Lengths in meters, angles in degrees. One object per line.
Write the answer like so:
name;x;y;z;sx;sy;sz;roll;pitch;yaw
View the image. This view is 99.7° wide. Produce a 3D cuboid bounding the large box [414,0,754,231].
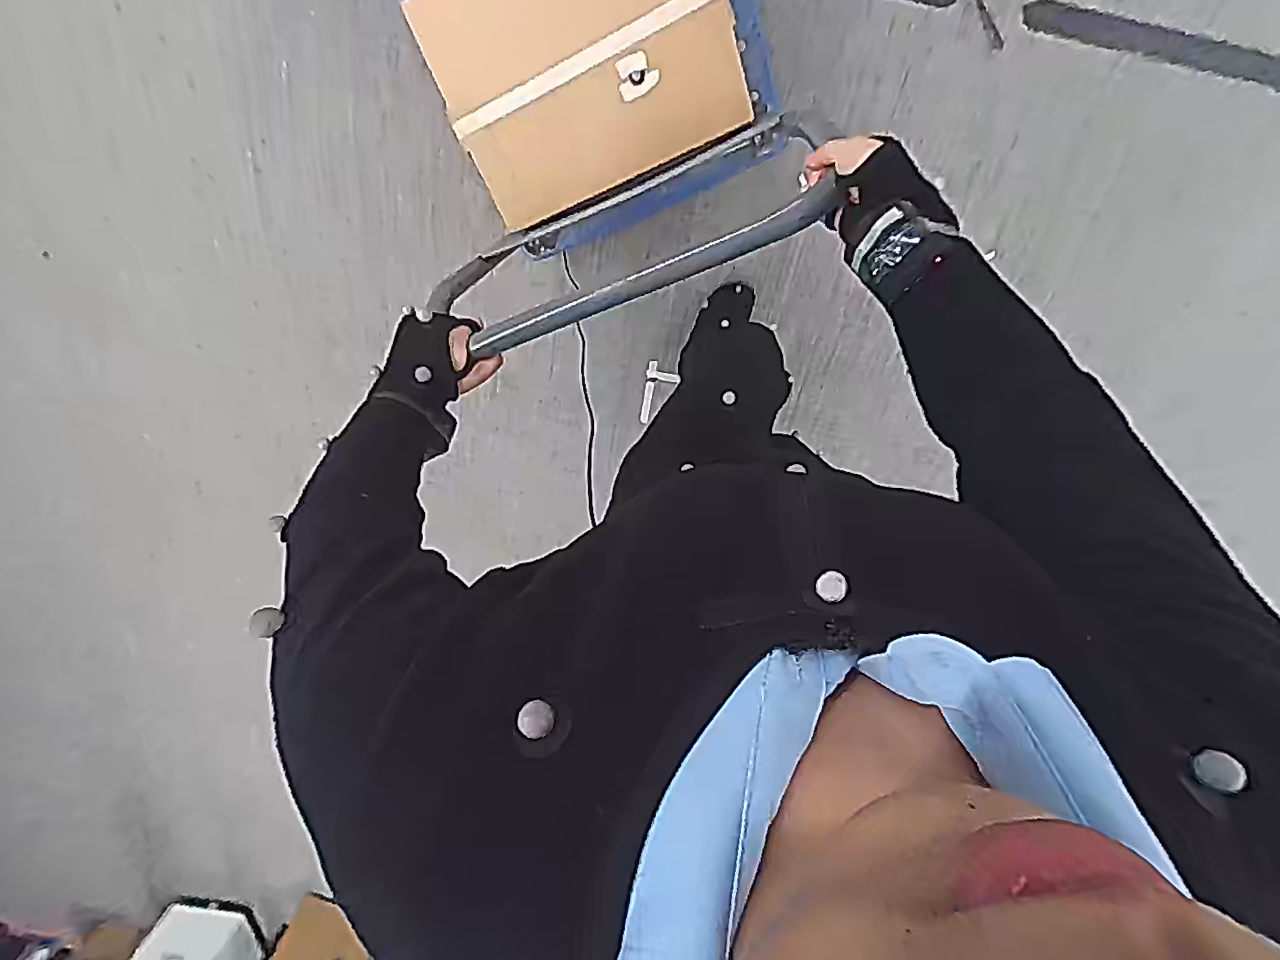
large box;-0.065;-0.655;0.884;0.408;0.320;0.320;-18;118;15
